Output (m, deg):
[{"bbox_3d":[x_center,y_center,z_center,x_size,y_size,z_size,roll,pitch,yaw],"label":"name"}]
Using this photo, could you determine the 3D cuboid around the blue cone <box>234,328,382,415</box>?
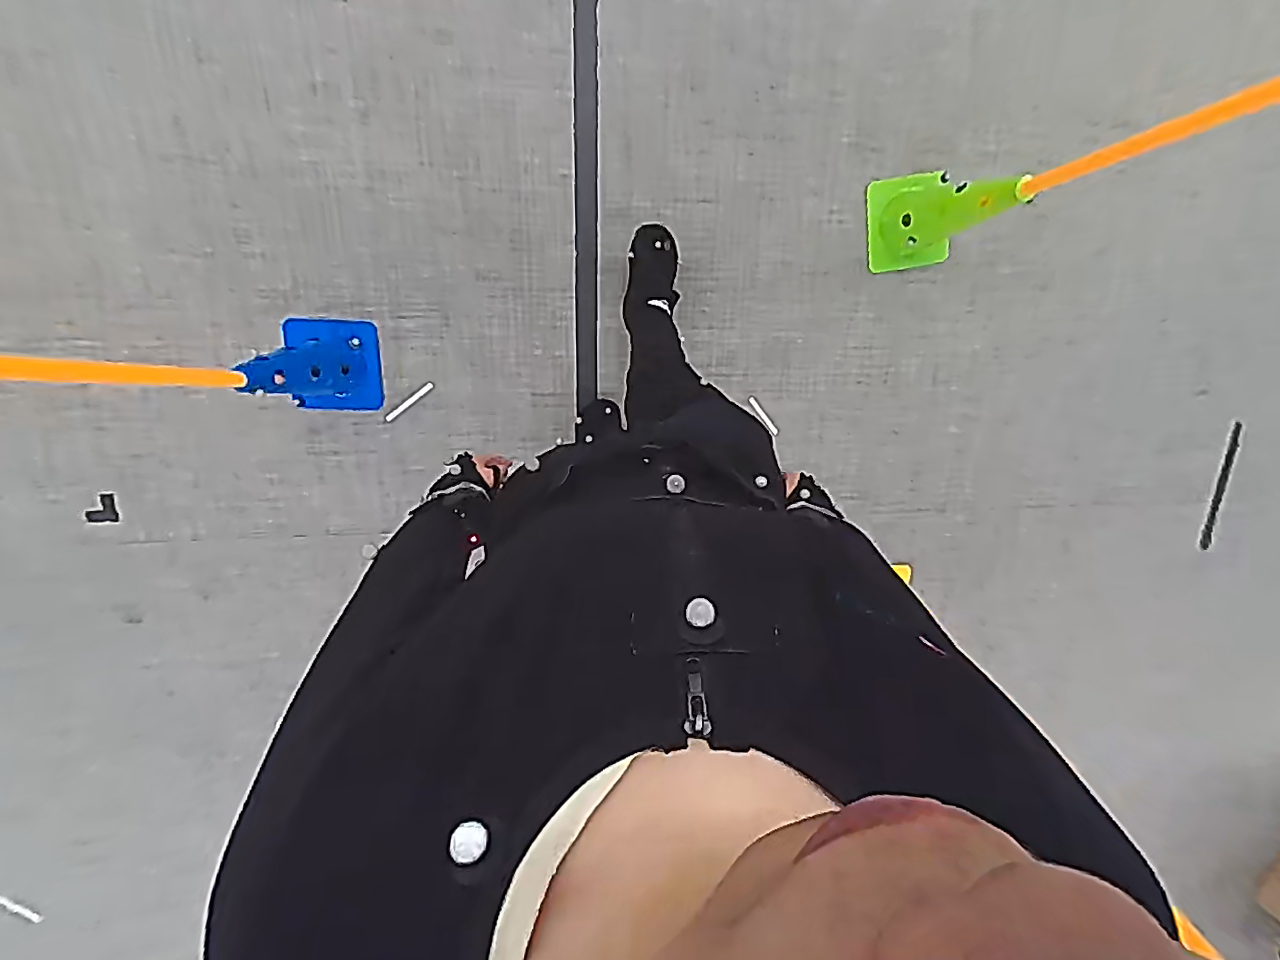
[{"bbox_3d":[-0.671,-0.199,1.064,0.193,0.380,0.192,2,106,-7],"label":"blue cone"}]

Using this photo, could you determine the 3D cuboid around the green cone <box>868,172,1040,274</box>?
[{"bbox_3d":[0.648,-0.548,1.100,0.200,0.368,0.202,-11,108,-3],"label":"green cone"}]
